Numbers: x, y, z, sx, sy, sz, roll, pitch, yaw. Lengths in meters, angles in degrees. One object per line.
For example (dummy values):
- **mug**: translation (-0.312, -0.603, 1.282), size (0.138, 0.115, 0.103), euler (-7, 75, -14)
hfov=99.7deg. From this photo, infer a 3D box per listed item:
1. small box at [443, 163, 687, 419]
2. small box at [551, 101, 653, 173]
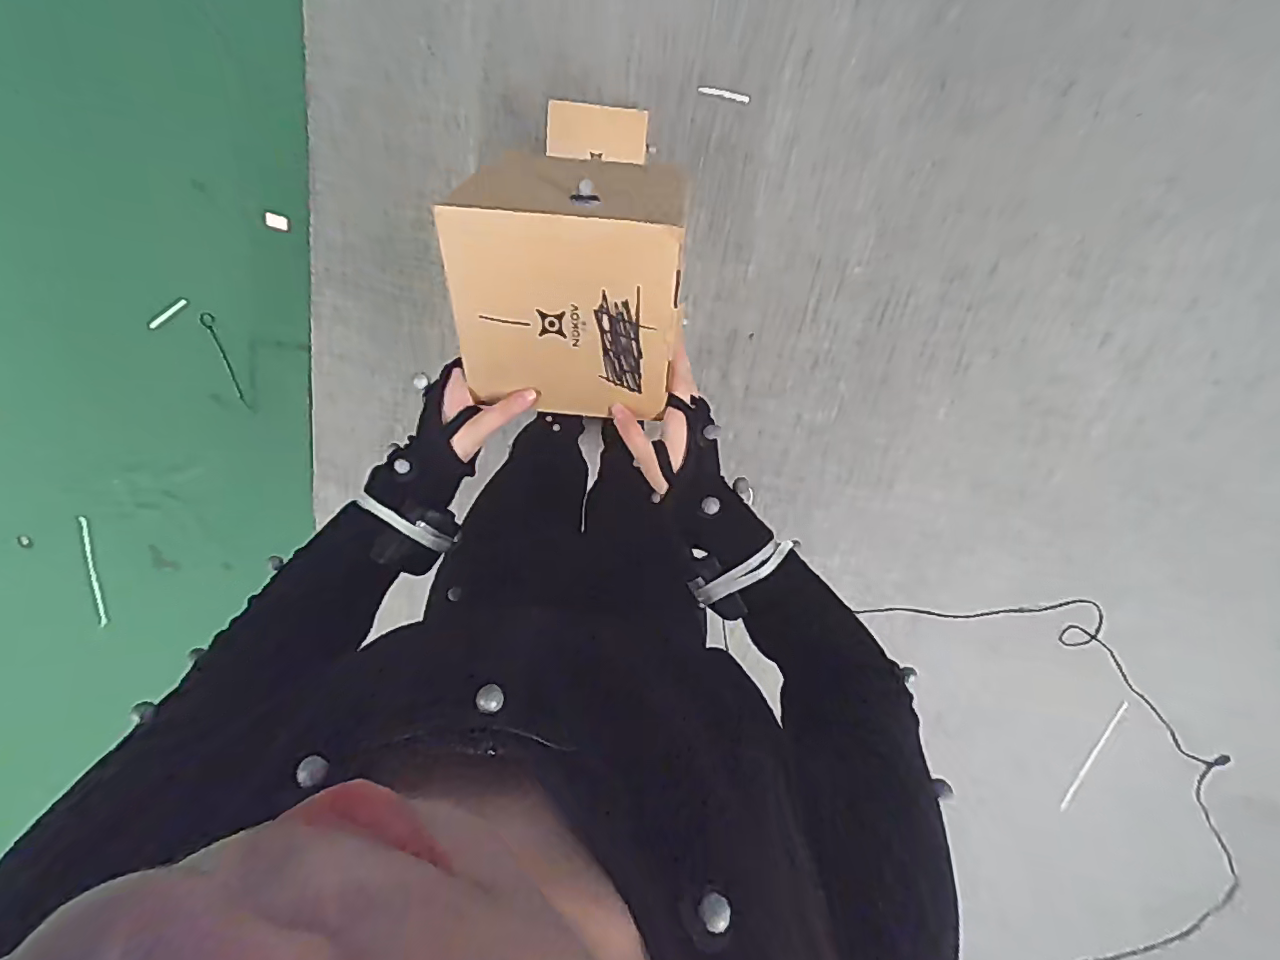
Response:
- **small box**: translation (-0.052, -0.176, 0.493), size (0.179, 0.176, 0.168), euler (6, 131, 3)
- **small box**: translation (-0.069, -0.557, 0.985), size (0.168, 0.176, 0.179), euler (7, 112, -1)
